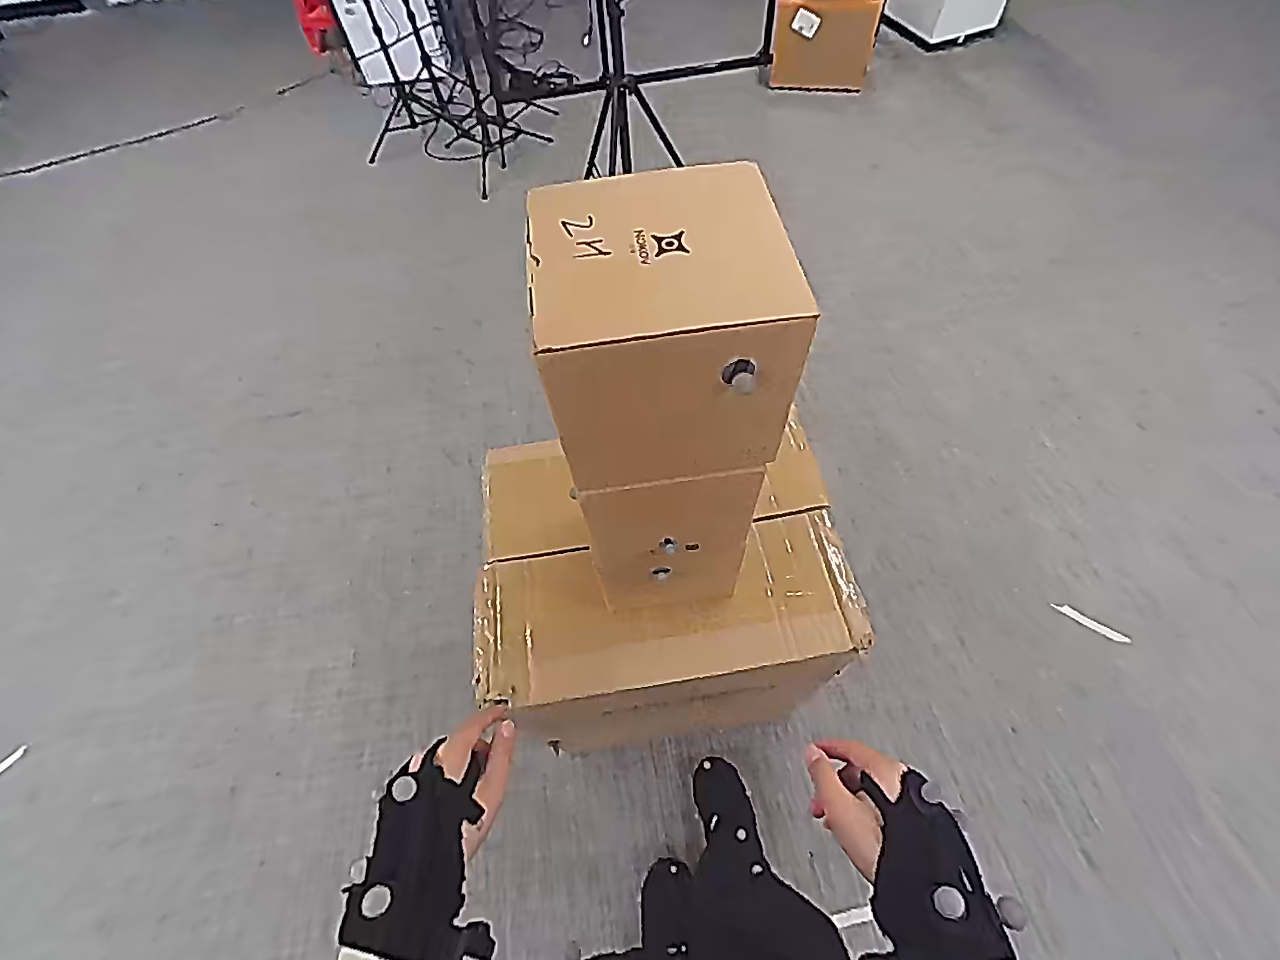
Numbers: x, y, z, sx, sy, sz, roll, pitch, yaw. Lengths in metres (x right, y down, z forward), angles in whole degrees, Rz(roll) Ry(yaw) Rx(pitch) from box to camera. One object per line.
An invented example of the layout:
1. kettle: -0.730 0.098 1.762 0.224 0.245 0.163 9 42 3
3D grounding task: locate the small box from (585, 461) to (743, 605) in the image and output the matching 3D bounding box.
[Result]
1. small box: 0.028 0.055 0.715 0.179 0.176 0.168 -8 59 -1

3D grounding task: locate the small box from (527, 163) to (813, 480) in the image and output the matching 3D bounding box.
1. small box: 0.015 -0.118 0.435 0.179 0.176 0.168 -8 59 -1
